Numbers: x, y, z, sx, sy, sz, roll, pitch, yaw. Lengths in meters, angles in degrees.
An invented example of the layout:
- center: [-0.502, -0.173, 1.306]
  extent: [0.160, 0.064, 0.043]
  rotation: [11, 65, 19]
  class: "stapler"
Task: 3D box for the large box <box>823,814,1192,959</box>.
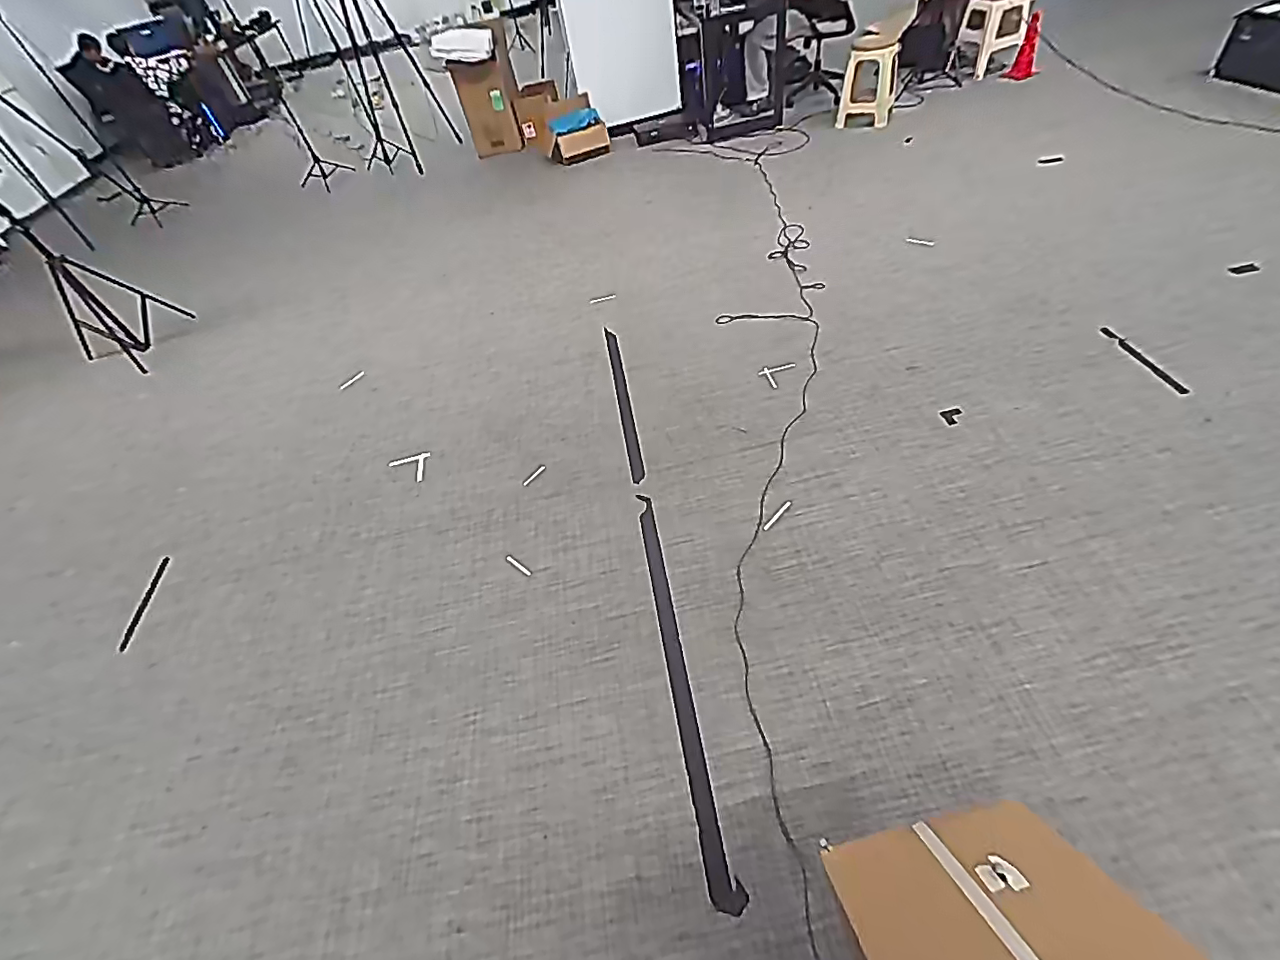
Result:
- center: [0.463, 0.683, 0.623]
  extent: [0.320, 0.408, 0.320]
  rotation: [-14, 86, 1]
  class: "large box"
